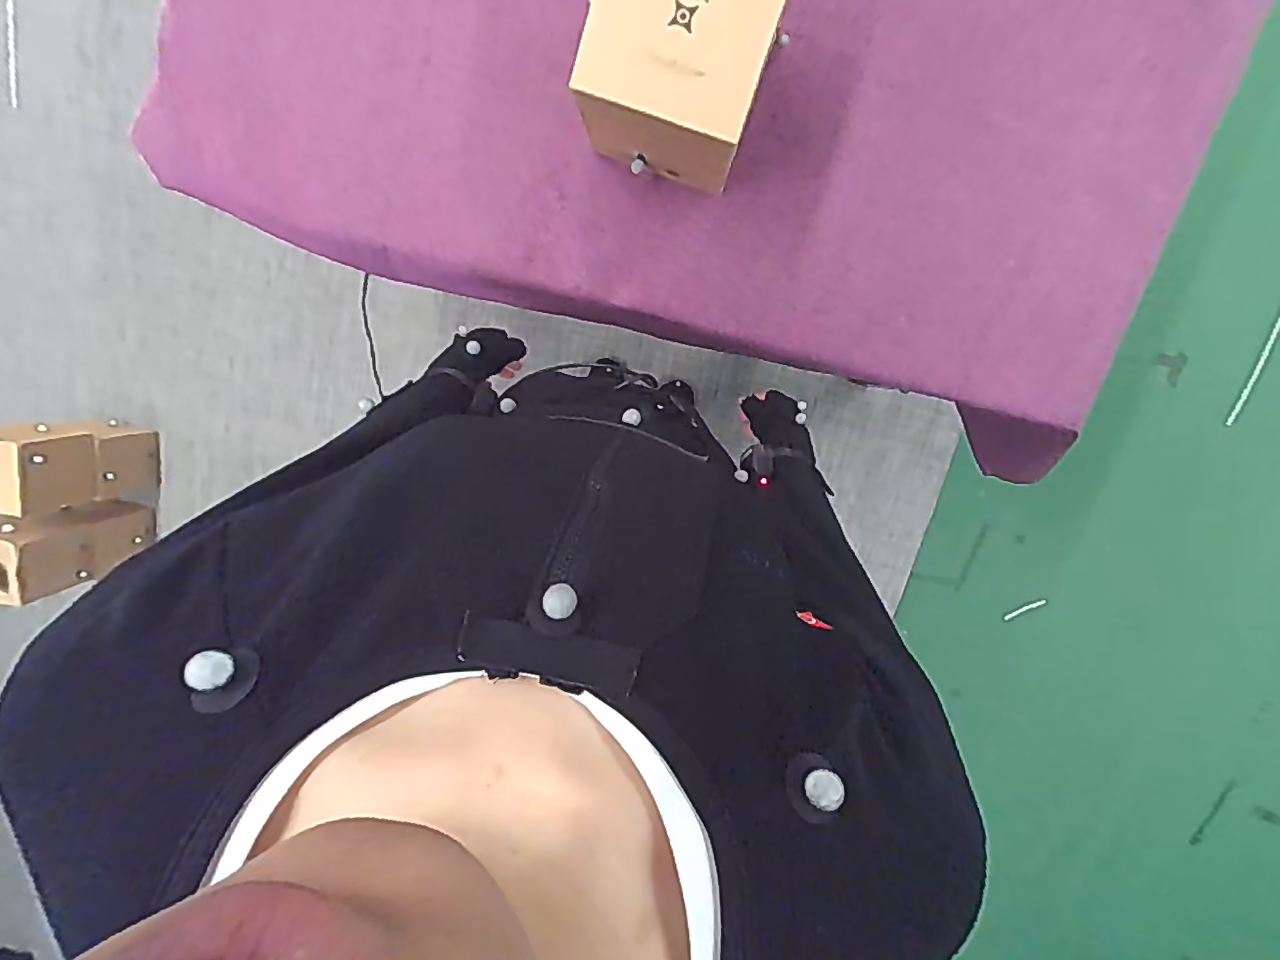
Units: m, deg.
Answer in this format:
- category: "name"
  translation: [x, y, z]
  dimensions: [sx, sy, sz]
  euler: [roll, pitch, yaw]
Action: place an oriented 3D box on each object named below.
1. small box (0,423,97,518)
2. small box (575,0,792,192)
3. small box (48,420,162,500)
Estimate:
- category: "small box"
  translation: [-1.449, -0.029, 1.284]
  dimensions: [0.168, 0.176, 0.179]
  euler: [10, 103, 0]
- category: "small box"
  translation: [0.046, -0.430, 0.553]
  dimensions: [0.168, 0.176, 0.179]
  euler: [19, 103, -1]
- category: "small box"
  translation: [-1.440, -0.060, 1.445]
  dimensions: [0.179, 0.176, 0.168]
  euler: [12, 104, 0]
